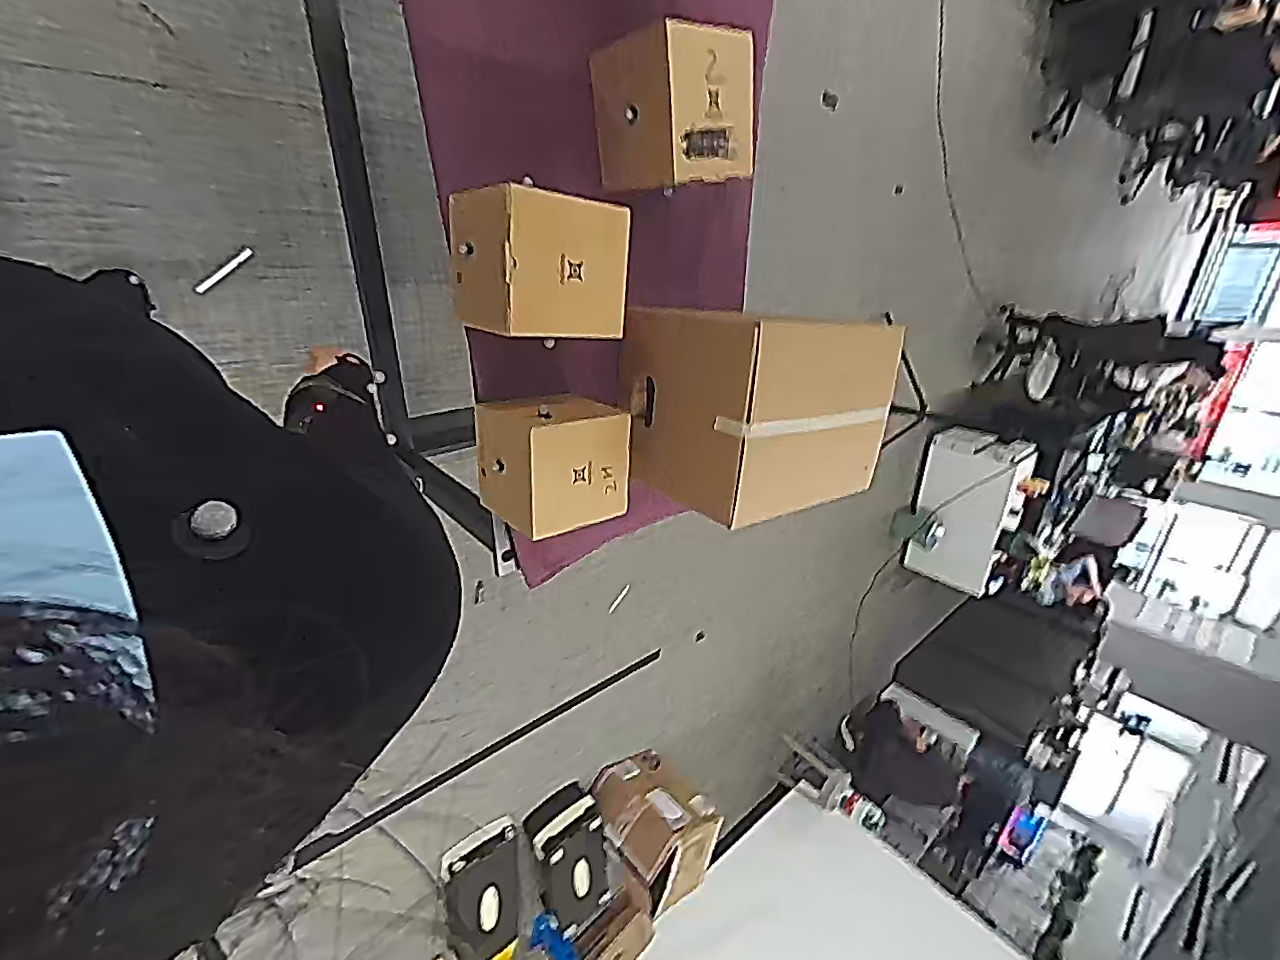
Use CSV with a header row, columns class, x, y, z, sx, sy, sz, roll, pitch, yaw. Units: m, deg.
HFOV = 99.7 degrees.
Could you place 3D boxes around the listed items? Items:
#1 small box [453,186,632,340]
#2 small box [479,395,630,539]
class,x,y,z,sx,sy,sz,roll,pitch,yaw
small box,-0.135,-0.286,0.730,0.179,0.176,0.168,-11,115,-39
small box,-0.138,-0.031,0.834,0.179,0.176,0.168,-14,117,-40
